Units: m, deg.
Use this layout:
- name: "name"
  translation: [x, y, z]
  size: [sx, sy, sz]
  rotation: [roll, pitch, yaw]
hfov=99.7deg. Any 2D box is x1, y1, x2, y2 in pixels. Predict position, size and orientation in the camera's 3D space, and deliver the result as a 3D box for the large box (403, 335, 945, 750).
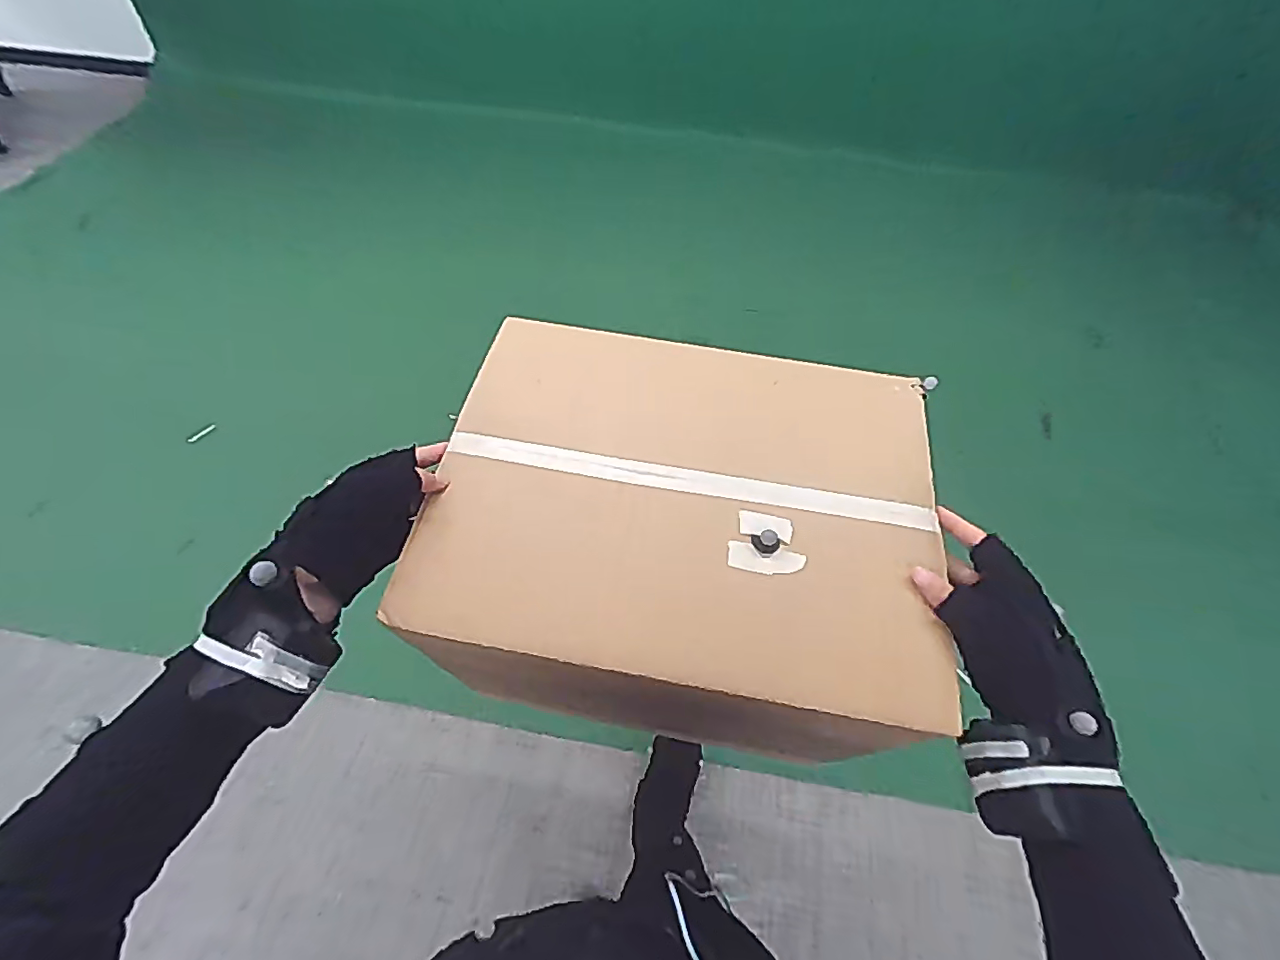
- name: "large box"
  translation: [0.036, 0.082, 0.590]
  size: [0.408, 0.320, 0.320]
  rotation: [9, 60, 4]
